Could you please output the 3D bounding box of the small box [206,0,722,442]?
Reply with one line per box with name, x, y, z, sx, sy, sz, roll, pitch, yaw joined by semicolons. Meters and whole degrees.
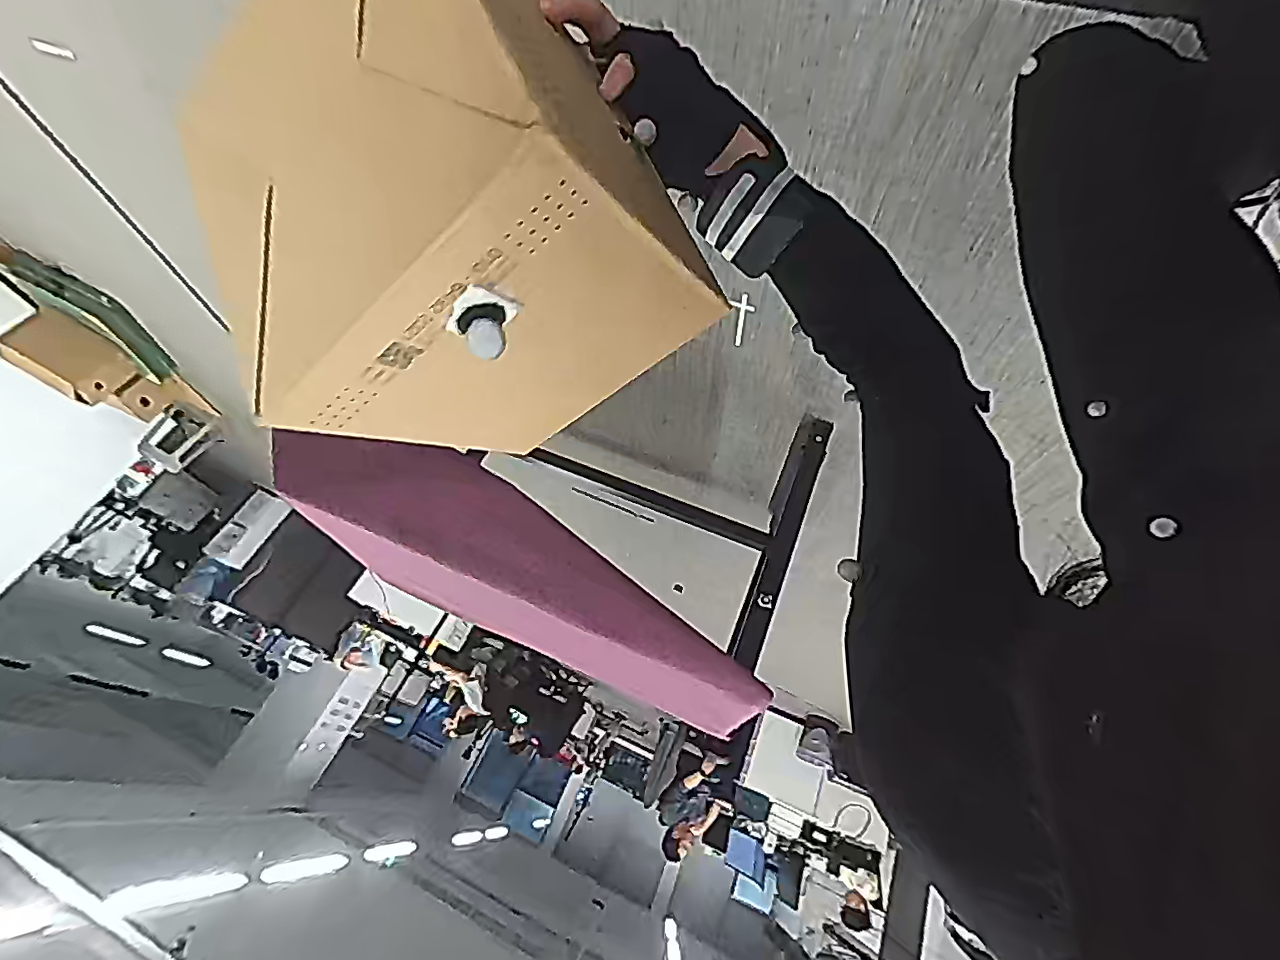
small box;-0.088;-0.140;0.282;0.168;0.179;0.176;-31;164;26
